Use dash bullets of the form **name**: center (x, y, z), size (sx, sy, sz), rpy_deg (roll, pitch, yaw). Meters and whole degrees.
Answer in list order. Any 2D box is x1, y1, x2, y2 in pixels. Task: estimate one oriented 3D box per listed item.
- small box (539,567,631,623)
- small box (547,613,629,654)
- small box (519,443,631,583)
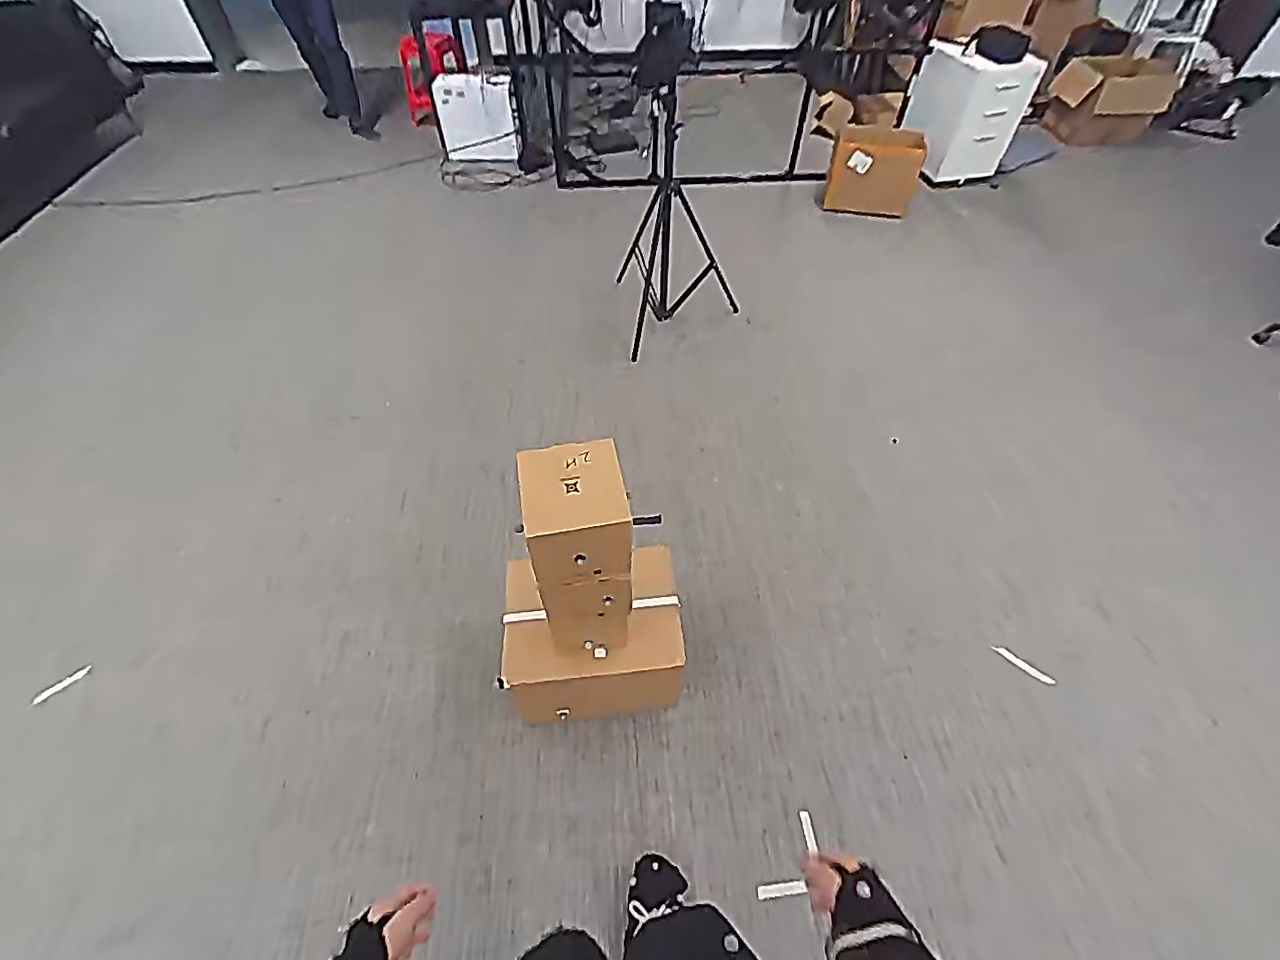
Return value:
- **small box**: center (-0.107, 0.168, 1.060), size (0.168, 0.176, 0.179), rpy_deg (-5, 52, -6)
- **small box**: center (-0.113, 0.263, 1.191), size (0.168, 0.176, 0.179), rpy_deg (-5, 53, -4)
- **small box**: center (-0.110, 0.064, 0.932), size (0.168, 0.176, 0.179), rpy_deg (-8, 53, -9)
